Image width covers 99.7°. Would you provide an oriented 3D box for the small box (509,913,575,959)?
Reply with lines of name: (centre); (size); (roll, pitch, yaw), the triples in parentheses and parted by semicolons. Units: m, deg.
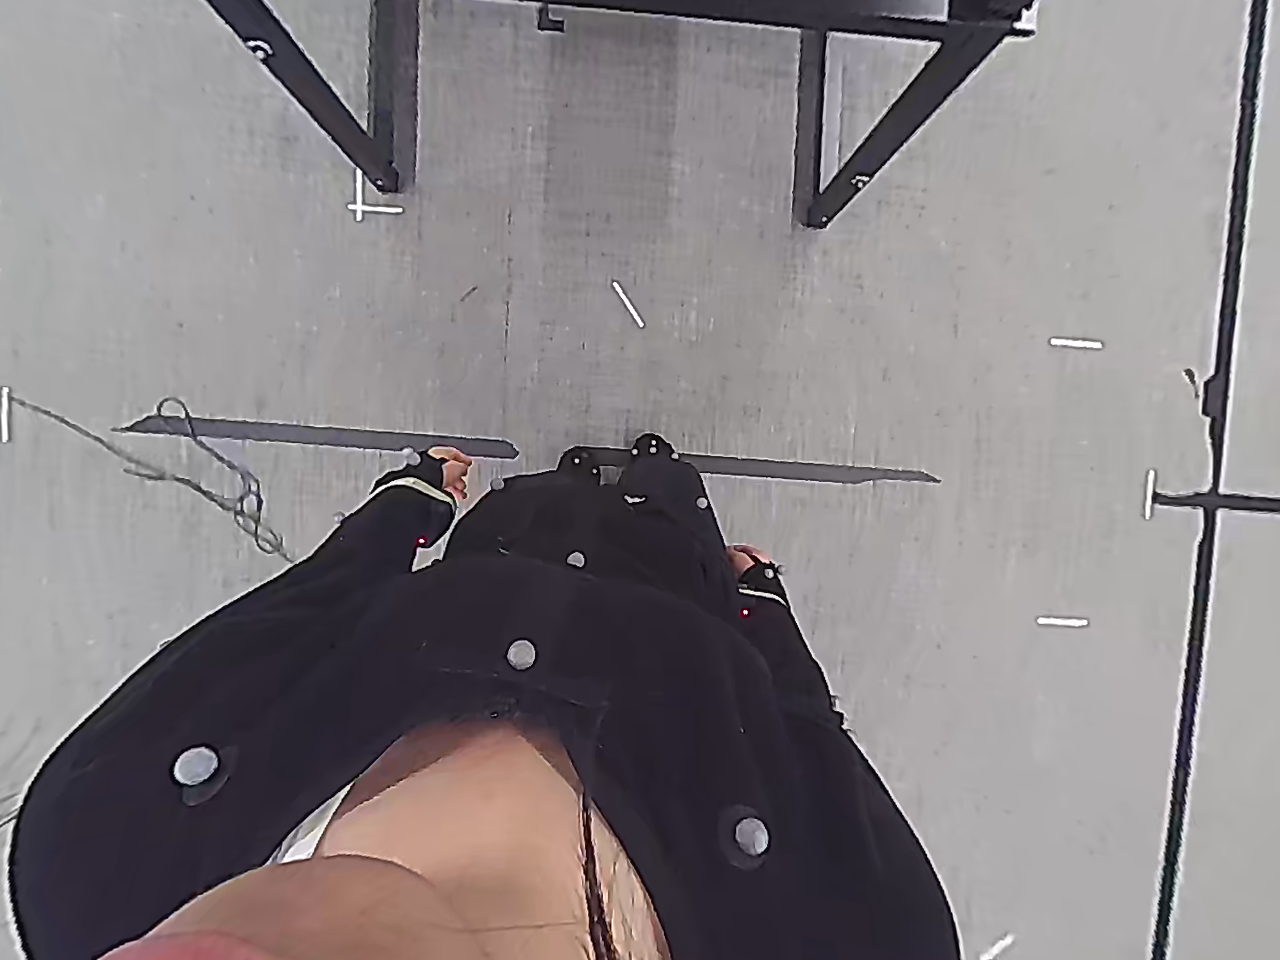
small box: (-0.264, 1.311, 1.456); (0.168, 0.176, 0.179); (1, 94, -3)
